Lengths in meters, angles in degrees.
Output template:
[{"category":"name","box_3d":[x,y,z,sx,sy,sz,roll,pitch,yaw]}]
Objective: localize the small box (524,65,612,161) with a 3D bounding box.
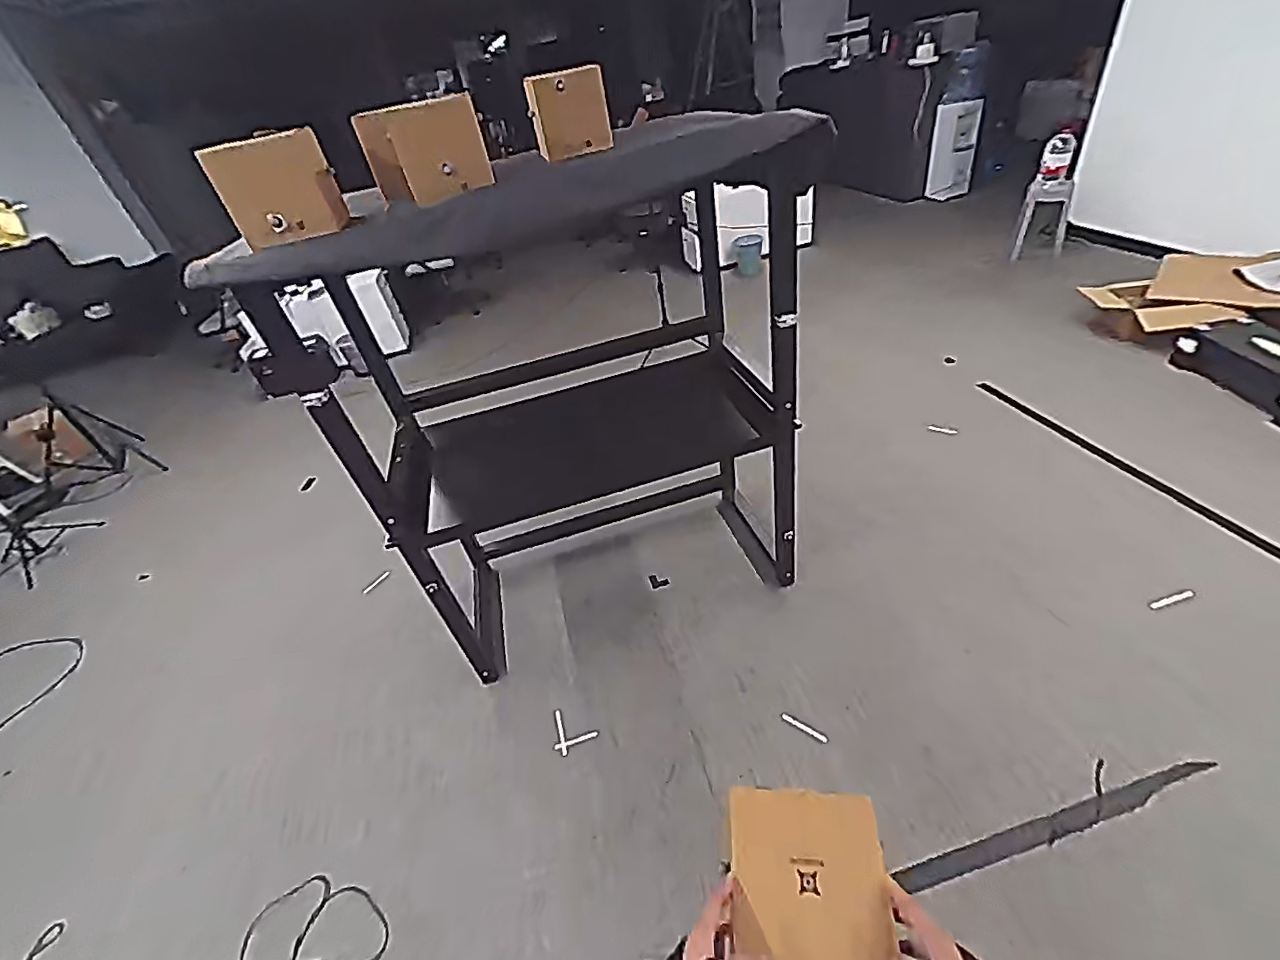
[{"category":"small box","box_3d":[-0.178,-0.900,1.332,0.168,0.176,0.179,-17,38,-6]}]

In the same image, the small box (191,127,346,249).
[{"category":"small box","box_3d":[-0.686,-0.554,1.026,0.168,0.176,0.179,-18,38,-8]}]

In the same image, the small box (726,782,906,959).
[{"category":"small box","box_3d":[0.188,0.478,0.631,0.168,0.176,0.179,1,44,5]}]
